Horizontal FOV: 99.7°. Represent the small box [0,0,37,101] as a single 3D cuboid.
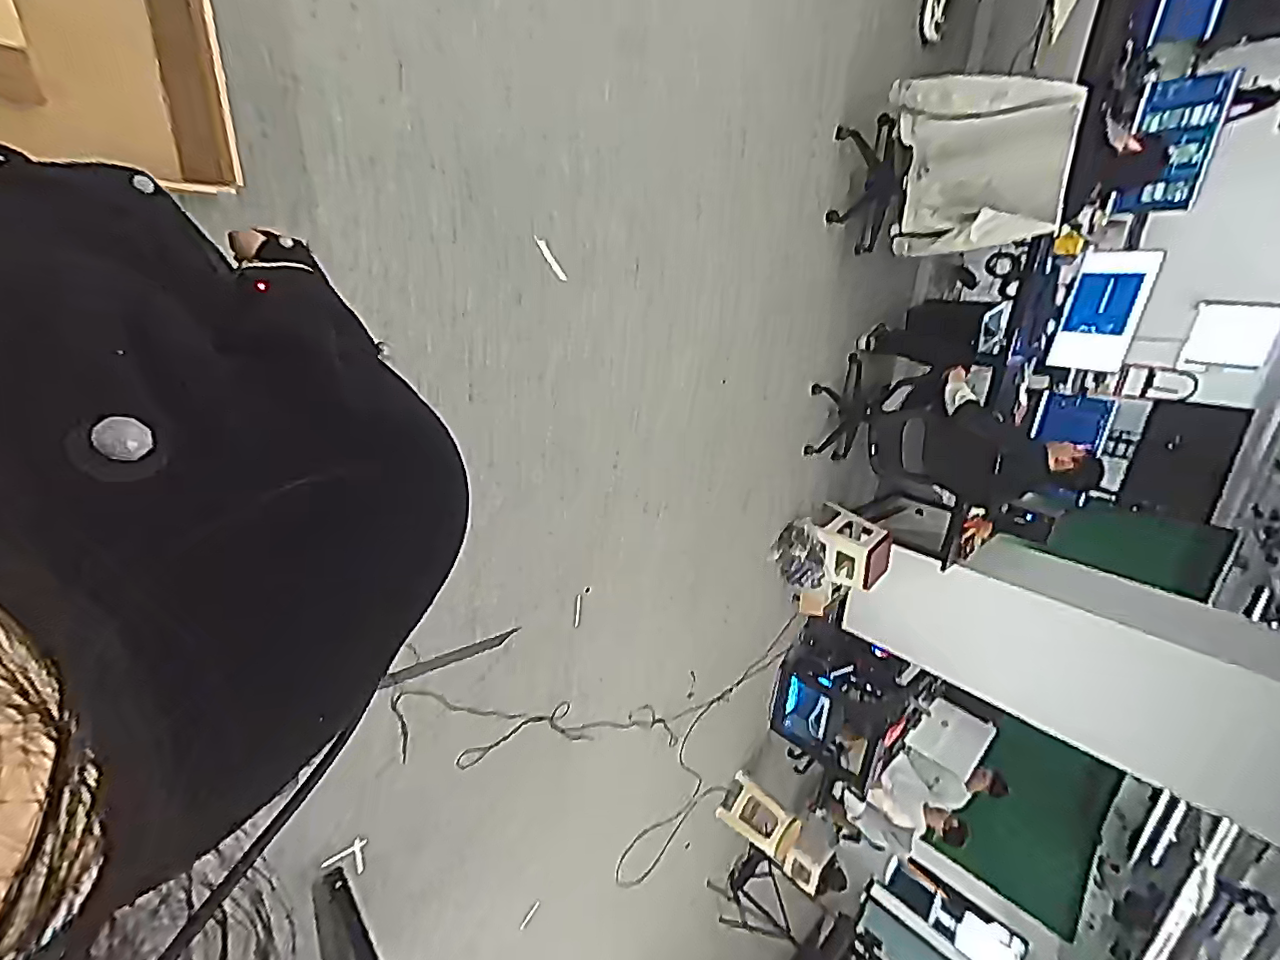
[{"bbox_3d":[-0.996,-0.666,0.759,0.168,0.176,0.179,-18,118,-40],"label":"small box"}]
